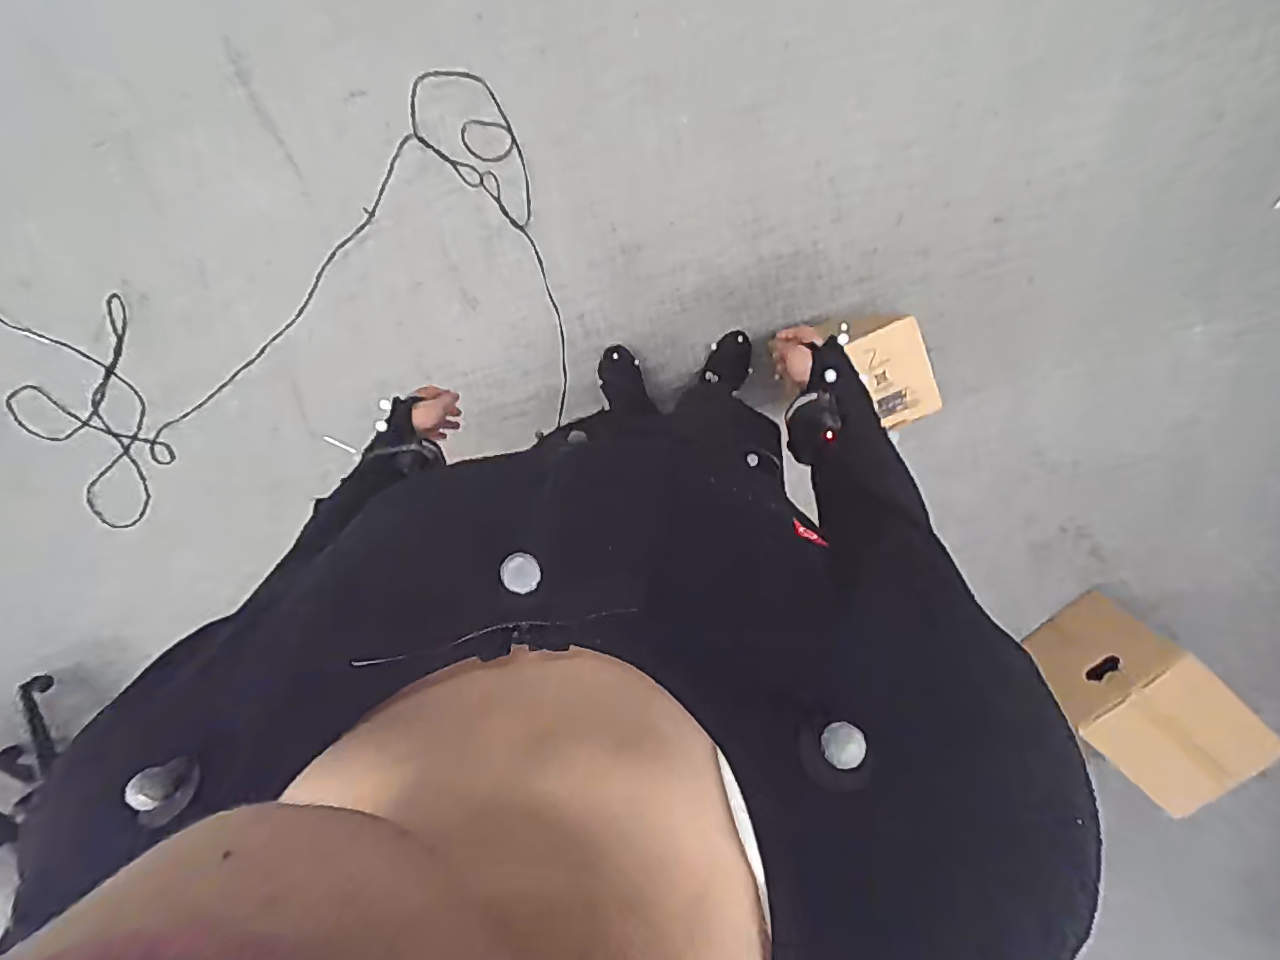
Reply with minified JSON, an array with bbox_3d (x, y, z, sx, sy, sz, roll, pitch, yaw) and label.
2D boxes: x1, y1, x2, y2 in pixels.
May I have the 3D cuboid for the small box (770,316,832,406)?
[{"bbox_3d":[0.428,-0.295,1.327,0.179,0.176,0.168,-18,106,8],"label":"small box"}]

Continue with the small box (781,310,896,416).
[{"bbox_3d":[0.417,-0.255,1.168,0.179,0.176,0.168,-21,107,7],"label":"small box"}]
